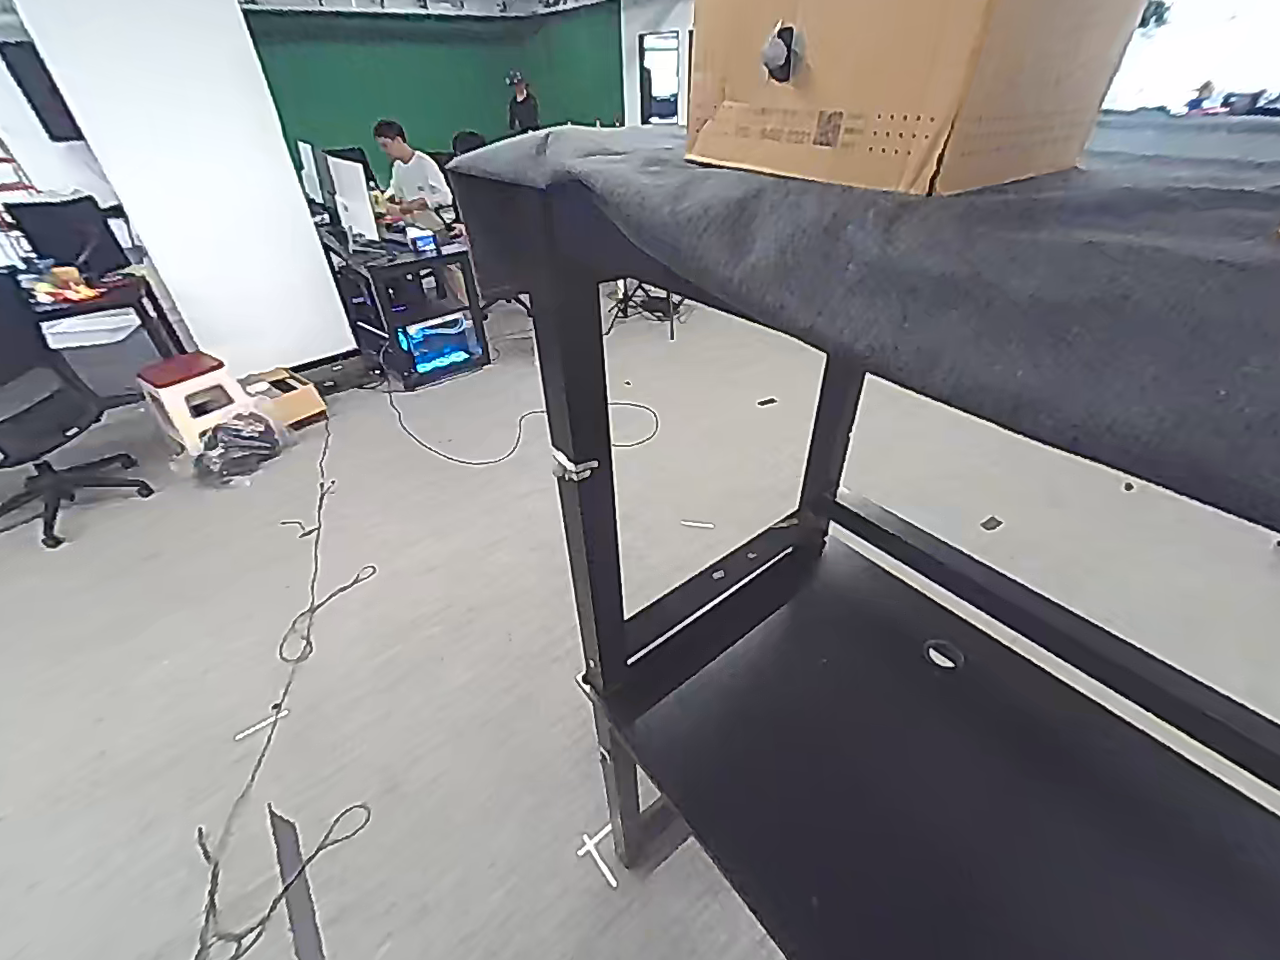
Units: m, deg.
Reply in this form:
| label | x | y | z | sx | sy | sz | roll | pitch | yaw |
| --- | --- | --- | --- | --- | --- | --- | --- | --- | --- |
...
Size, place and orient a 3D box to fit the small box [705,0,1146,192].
| label | x | y | z | sx | sy | sz | roll | pitch | yaw |
| --- | --- | --- | --- | --- | --- | --- | --- | --- | --- |
| small box | 0.150 | -0.263 | 0.284 | 0.179 | 0.176 | 0.168 | -26 | 44 | -30 |
